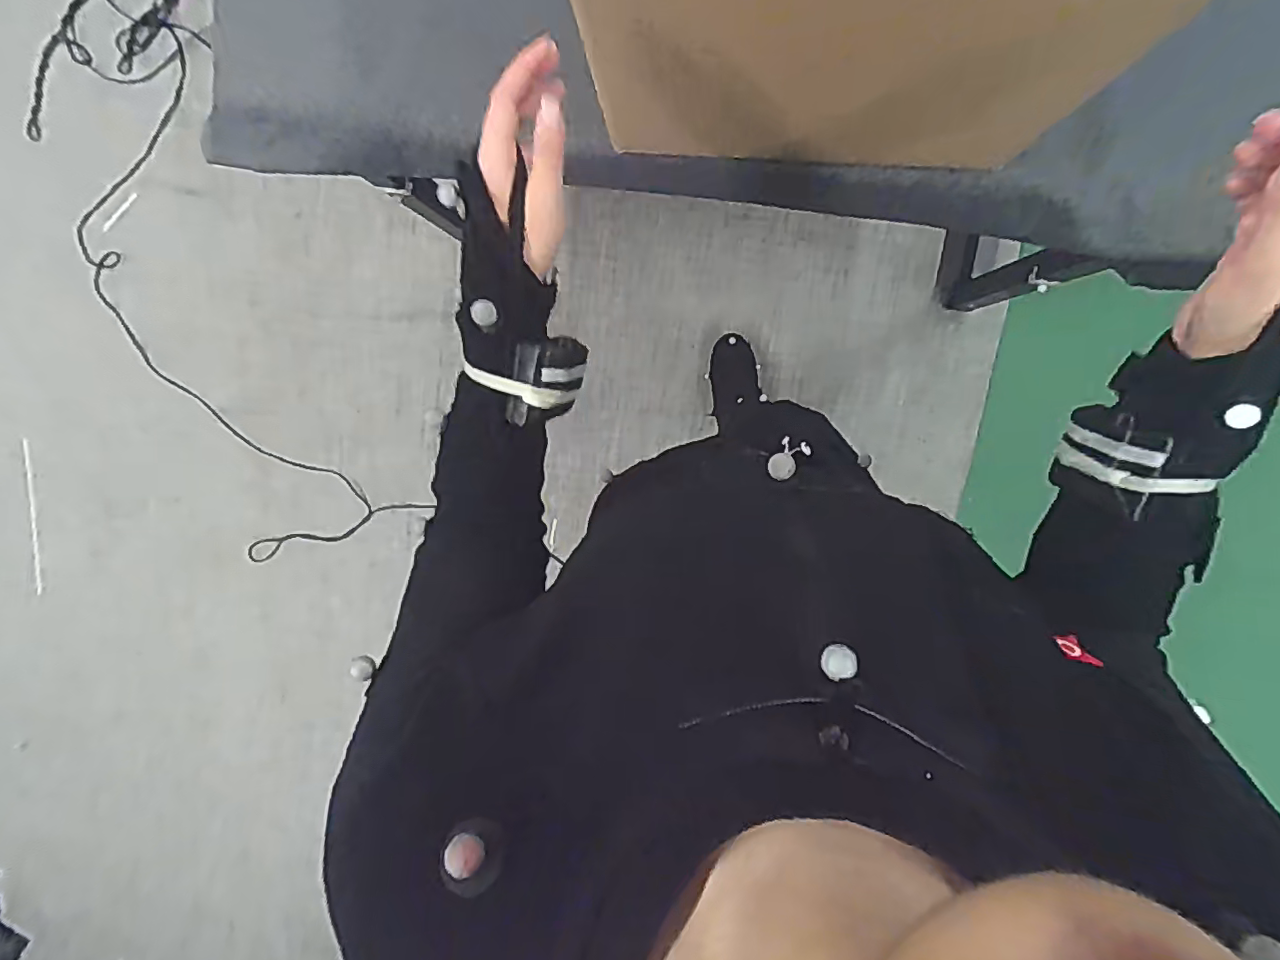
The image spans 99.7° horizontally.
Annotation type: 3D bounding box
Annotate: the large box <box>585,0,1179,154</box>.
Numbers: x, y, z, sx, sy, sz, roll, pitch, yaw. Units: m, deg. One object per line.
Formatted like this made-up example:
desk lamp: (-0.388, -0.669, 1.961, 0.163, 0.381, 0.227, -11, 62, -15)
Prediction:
large box: (0.167, -0.477, 0.403, 0.408, 0.320, 0.320, 4, 99, 3)
